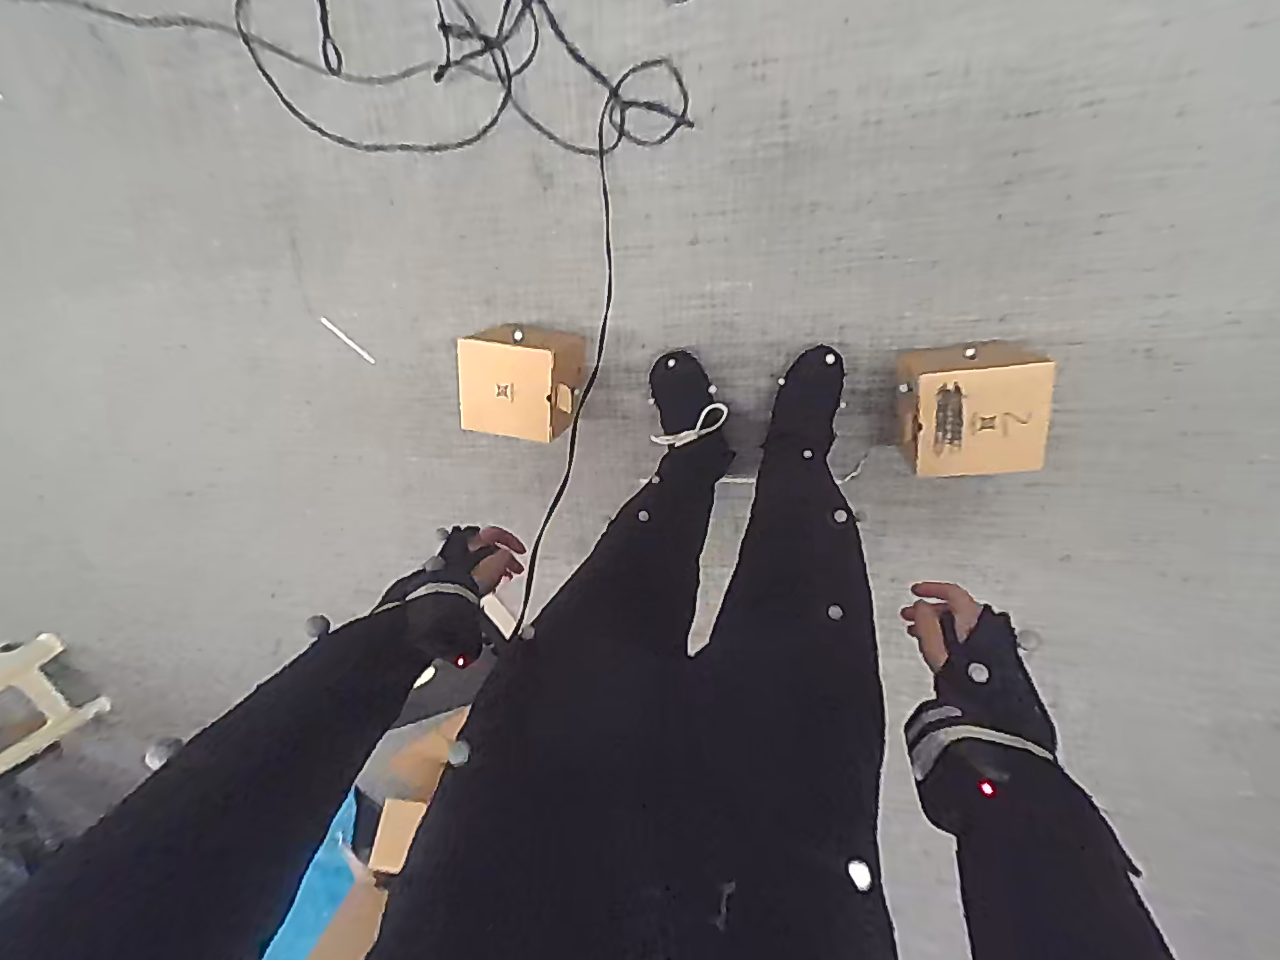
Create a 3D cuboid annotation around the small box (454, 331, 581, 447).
[{"bbox_3d":[-0.222,-0.176,1.005,0.179,0.176,0.168,10,115,9],"label":"small box"}]
